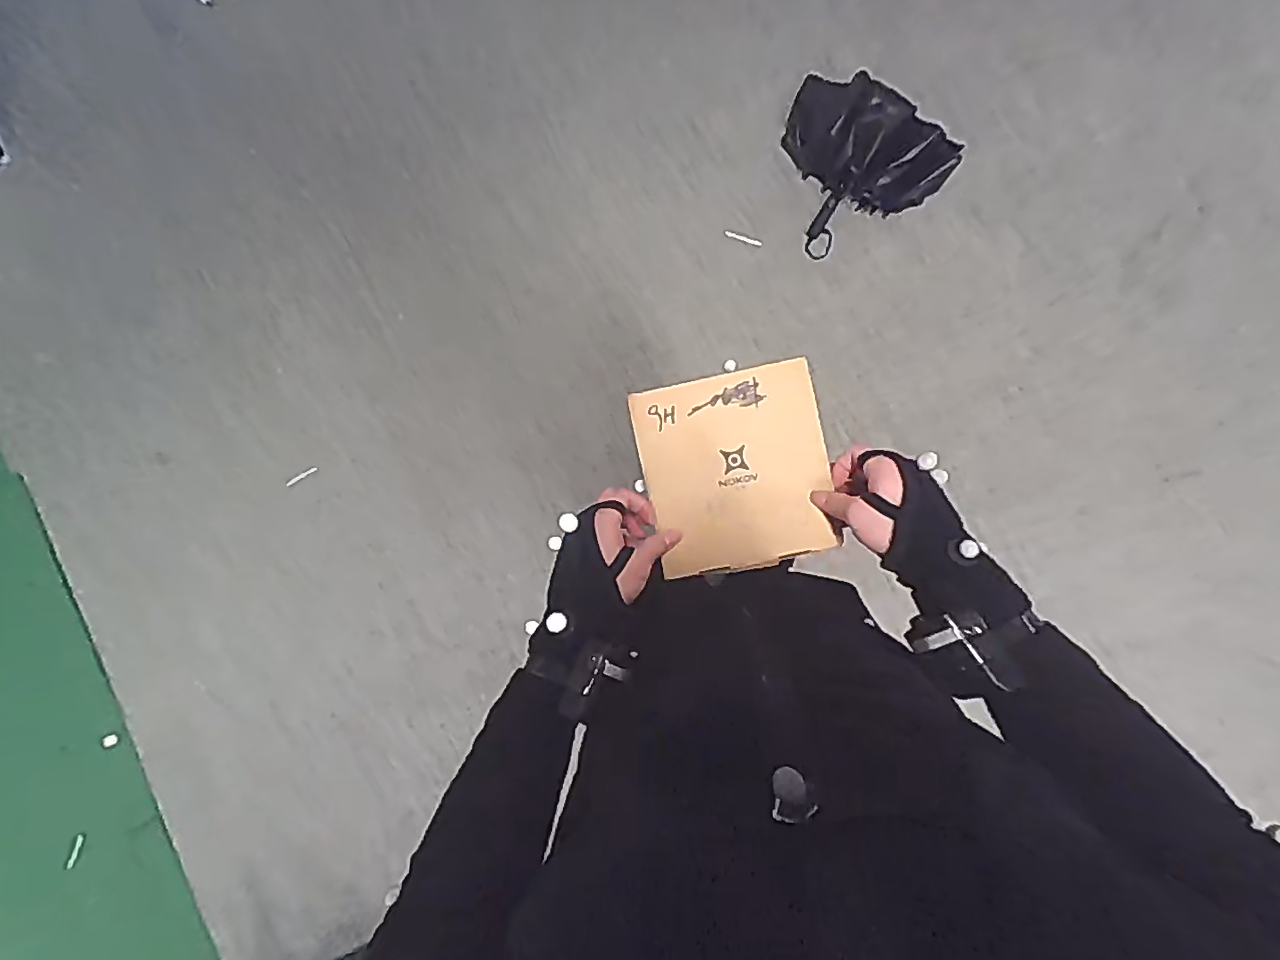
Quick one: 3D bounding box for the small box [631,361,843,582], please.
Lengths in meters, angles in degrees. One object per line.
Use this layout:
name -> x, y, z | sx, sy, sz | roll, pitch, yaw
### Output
small box -> 0.090, -0.010, 0.563 | 0.168, 0.176, 0.179 | -12, 91, 2
